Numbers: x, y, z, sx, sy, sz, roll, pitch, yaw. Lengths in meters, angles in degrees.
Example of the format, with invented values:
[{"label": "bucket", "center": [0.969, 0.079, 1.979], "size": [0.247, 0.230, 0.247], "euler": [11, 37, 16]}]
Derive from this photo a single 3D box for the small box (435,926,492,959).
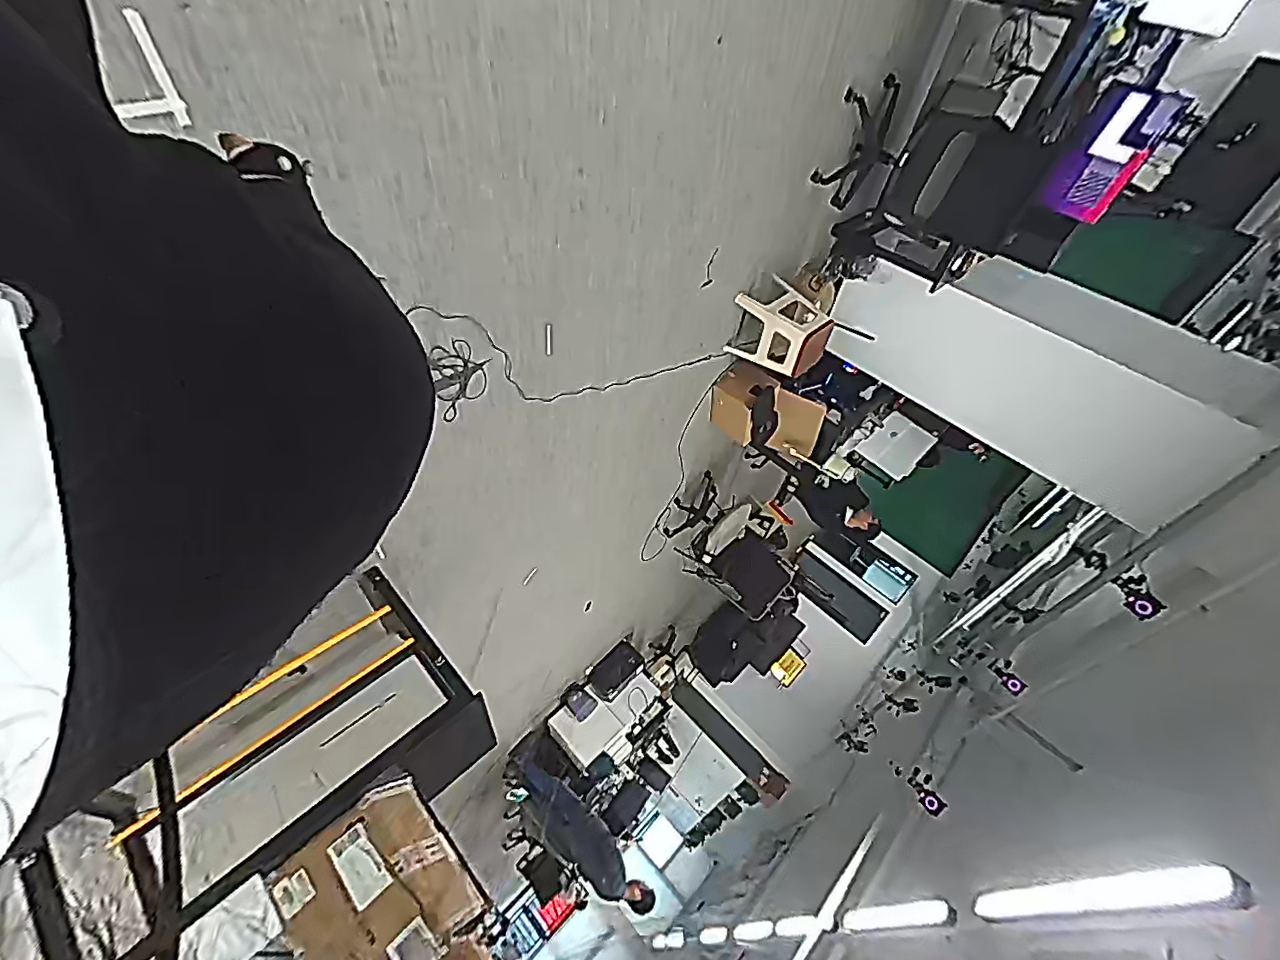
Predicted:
[{"label": "small box", "center": [-0.564, 1.550, 1.689], "size": [0.179, 0.176, 0.168], "euler": [-35, 155, -28]}]
